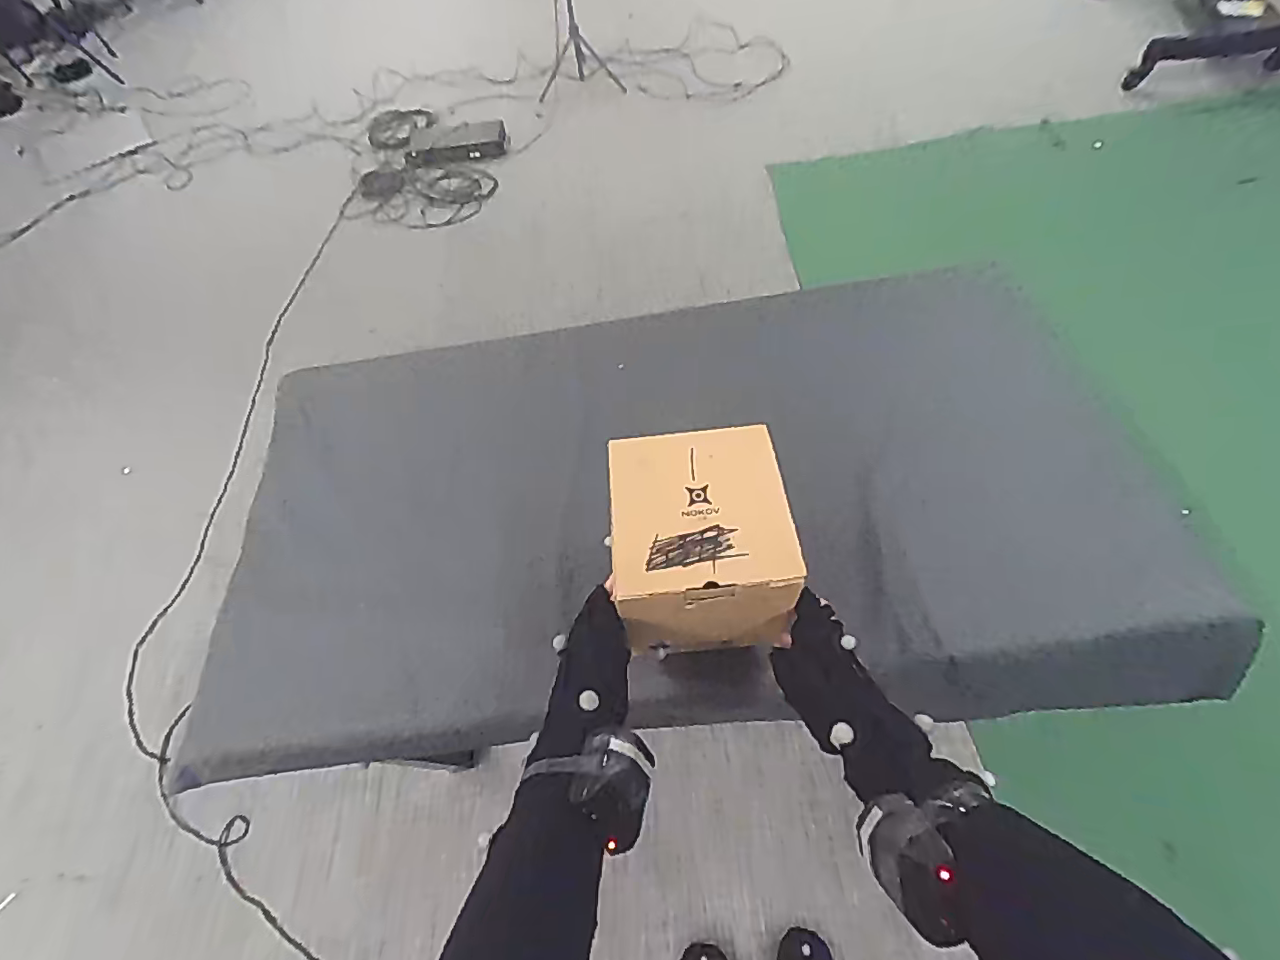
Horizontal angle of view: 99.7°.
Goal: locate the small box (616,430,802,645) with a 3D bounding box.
[{"bbox_3d":[0.066,0.071,0.585,0.168,0.176,0.179,-5,55,2],"label":"small box"}]
